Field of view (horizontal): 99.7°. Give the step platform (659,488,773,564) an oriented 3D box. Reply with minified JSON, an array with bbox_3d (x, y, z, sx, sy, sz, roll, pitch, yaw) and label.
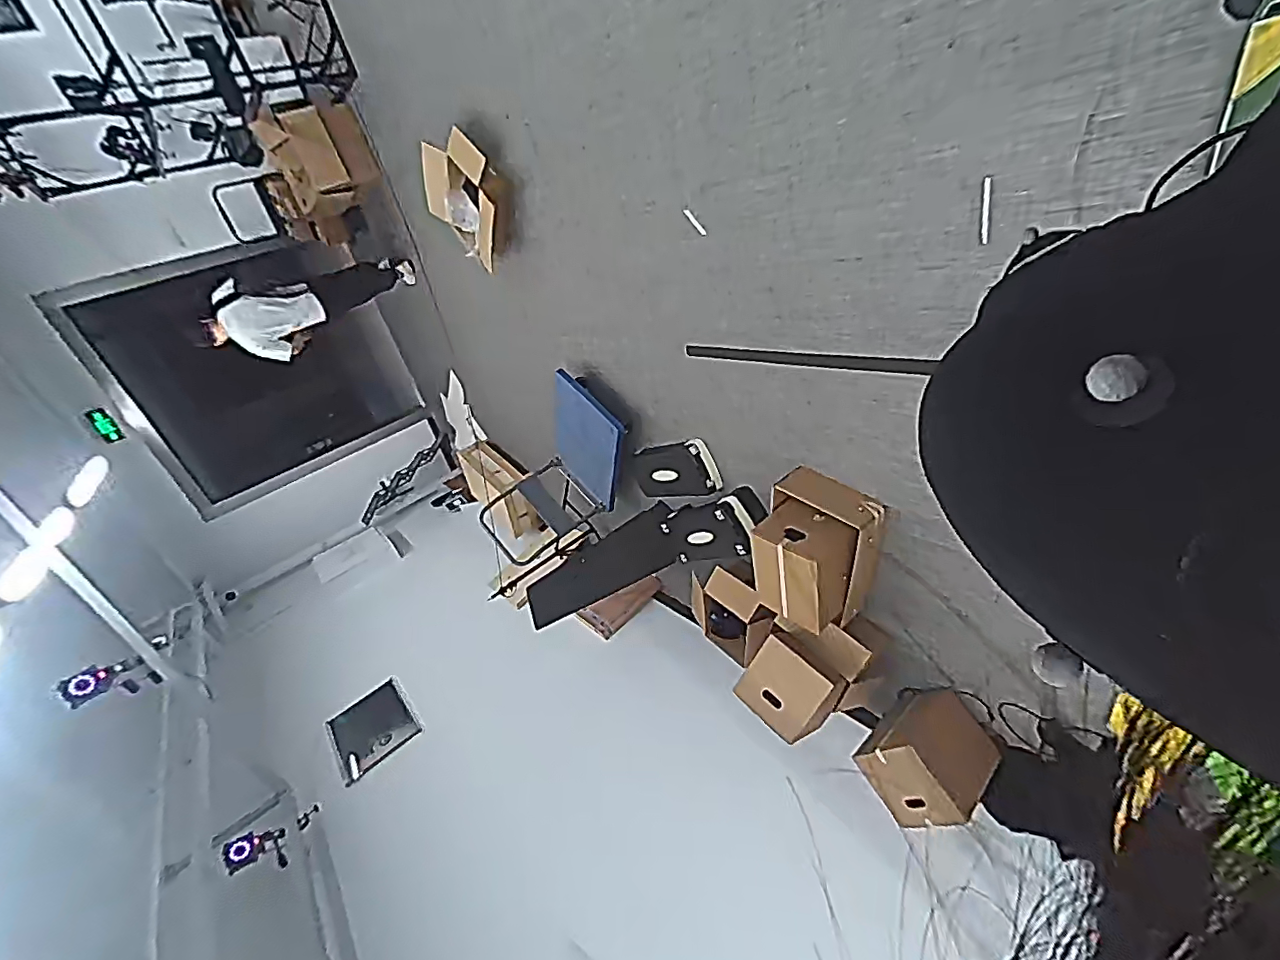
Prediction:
[{"bbox_3d":[0.370,0.258,2.829,0.286,0.204,0.684,59,151,-3],"label":"step platform"}]
